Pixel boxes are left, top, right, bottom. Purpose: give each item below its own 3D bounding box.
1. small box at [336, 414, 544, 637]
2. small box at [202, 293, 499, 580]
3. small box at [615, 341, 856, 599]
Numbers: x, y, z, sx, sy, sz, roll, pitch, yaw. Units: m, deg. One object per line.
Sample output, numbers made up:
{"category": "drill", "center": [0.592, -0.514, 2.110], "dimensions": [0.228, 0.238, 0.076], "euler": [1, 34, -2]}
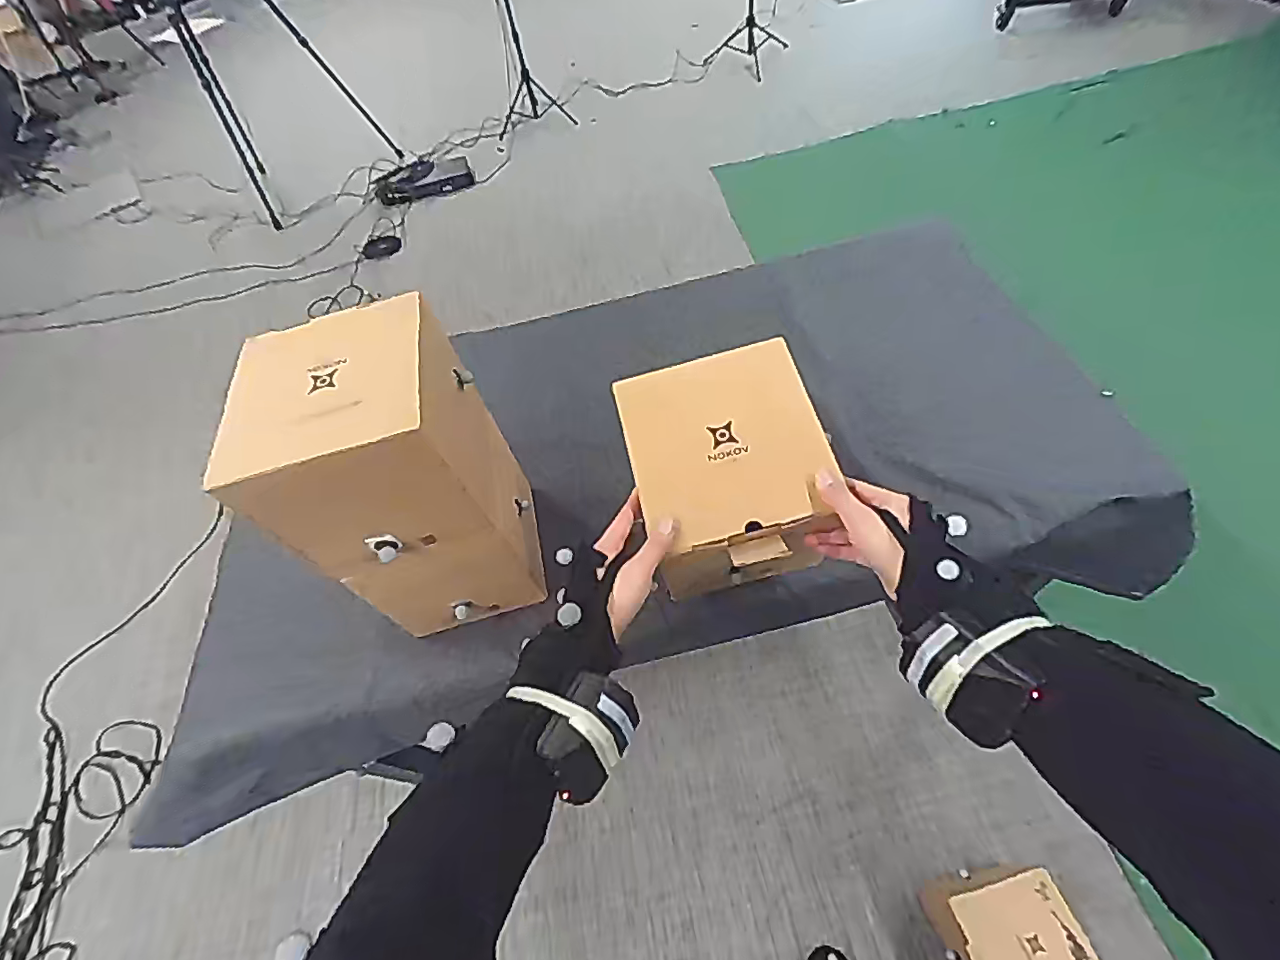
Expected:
{"category": "small box", "center": [-0.221, 0.057, 0.632], "dimensions": [0.168, 0.176, 0.179], "euler": [-16, 55, -2]}
{"category": "small box", "center": [-0.243, -0.035, 0.500], "dimensions": [0.168, 0.176, 0.179], "euler": [-17, 55, -1]}
{"category": "small box", "center": [0.081, 0.000, 0.529], "dimensions": [0.168, 0.176, 0.179], "euler": [-15, 66, 1]}
